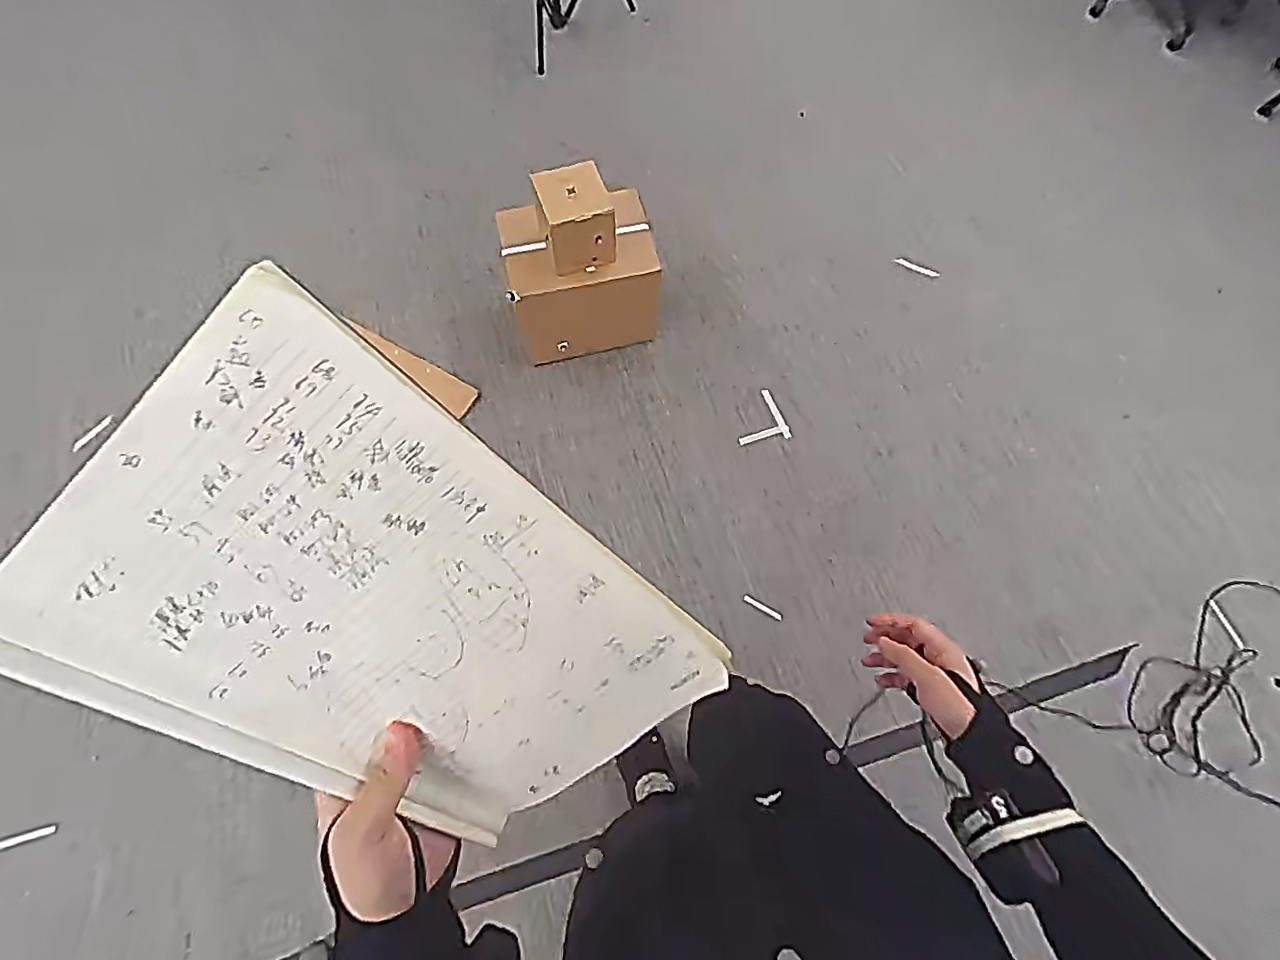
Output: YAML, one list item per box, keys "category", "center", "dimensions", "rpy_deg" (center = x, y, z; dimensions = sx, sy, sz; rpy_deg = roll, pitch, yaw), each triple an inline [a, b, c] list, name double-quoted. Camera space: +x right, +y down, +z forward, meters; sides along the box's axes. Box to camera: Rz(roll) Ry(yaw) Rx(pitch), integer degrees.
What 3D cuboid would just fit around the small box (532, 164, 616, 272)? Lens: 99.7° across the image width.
- category: "small box"
  center: [-0.162, -0.657, 1.376]
  dimensions: [0.168, 0.176, 0.179]
  rpy_deg: [-18, 69, -10]
